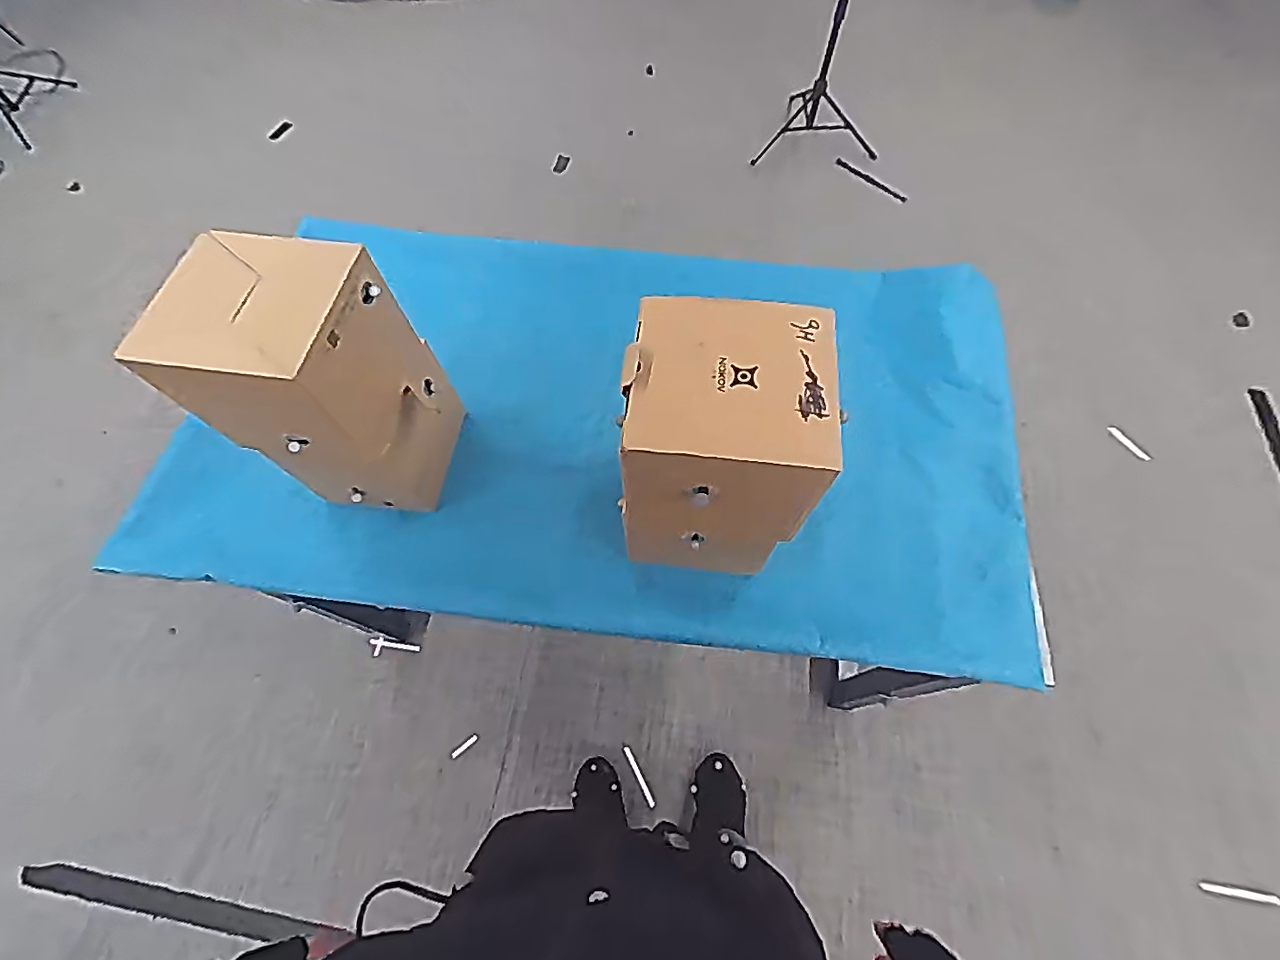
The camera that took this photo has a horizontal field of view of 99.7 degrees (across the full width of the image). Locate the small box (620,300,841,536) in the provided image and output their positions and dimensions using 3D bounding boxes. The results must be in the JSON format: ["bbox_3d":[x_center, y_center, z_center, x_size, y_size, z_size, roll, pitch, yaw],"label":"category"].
[{"bbox_3d":[0.079,-0.052,0.528,0.179,0.176,0.168,3,64,3],"label":"small box"}]

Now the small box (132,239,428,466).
[{"bbox_3d":[-0.365,-0.132,0.581,0.179,0.176,0.168,8,65,5],"label":"small box"}]

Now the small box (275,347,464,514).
[{"bbox_3d":[-0.360,-0.072,0.737,0.168,0.176,0.179,8,67,8],"label":"small box"}]

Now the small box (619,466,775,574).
[{"bbox_3d":[0.078,0.011,0.678,0.179,0.176,0.168,6,65,6],"label":"small box"}]
